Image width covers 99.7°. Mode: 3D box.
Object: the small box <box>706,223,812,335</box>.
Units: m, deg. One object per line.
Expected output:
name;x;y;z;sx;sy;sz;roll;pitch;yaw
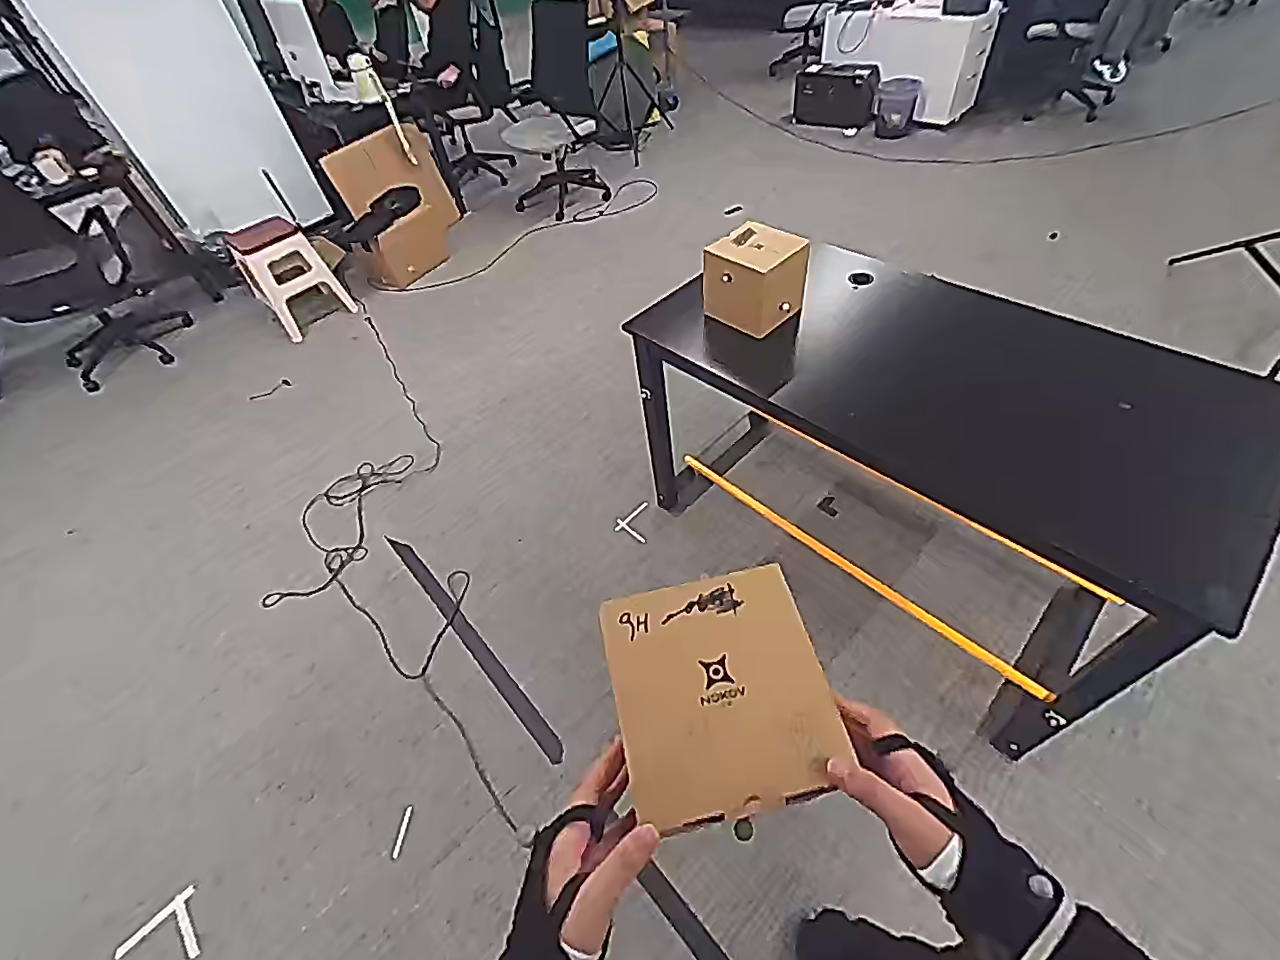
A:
small box;0.269;-0.465;1.260;0.168;0.176;0.179;-39;56;-22

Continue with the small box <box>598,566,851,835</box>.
small box;0.064;0.205;0.500;0.168;0.176;0.179;-12;58;-5
